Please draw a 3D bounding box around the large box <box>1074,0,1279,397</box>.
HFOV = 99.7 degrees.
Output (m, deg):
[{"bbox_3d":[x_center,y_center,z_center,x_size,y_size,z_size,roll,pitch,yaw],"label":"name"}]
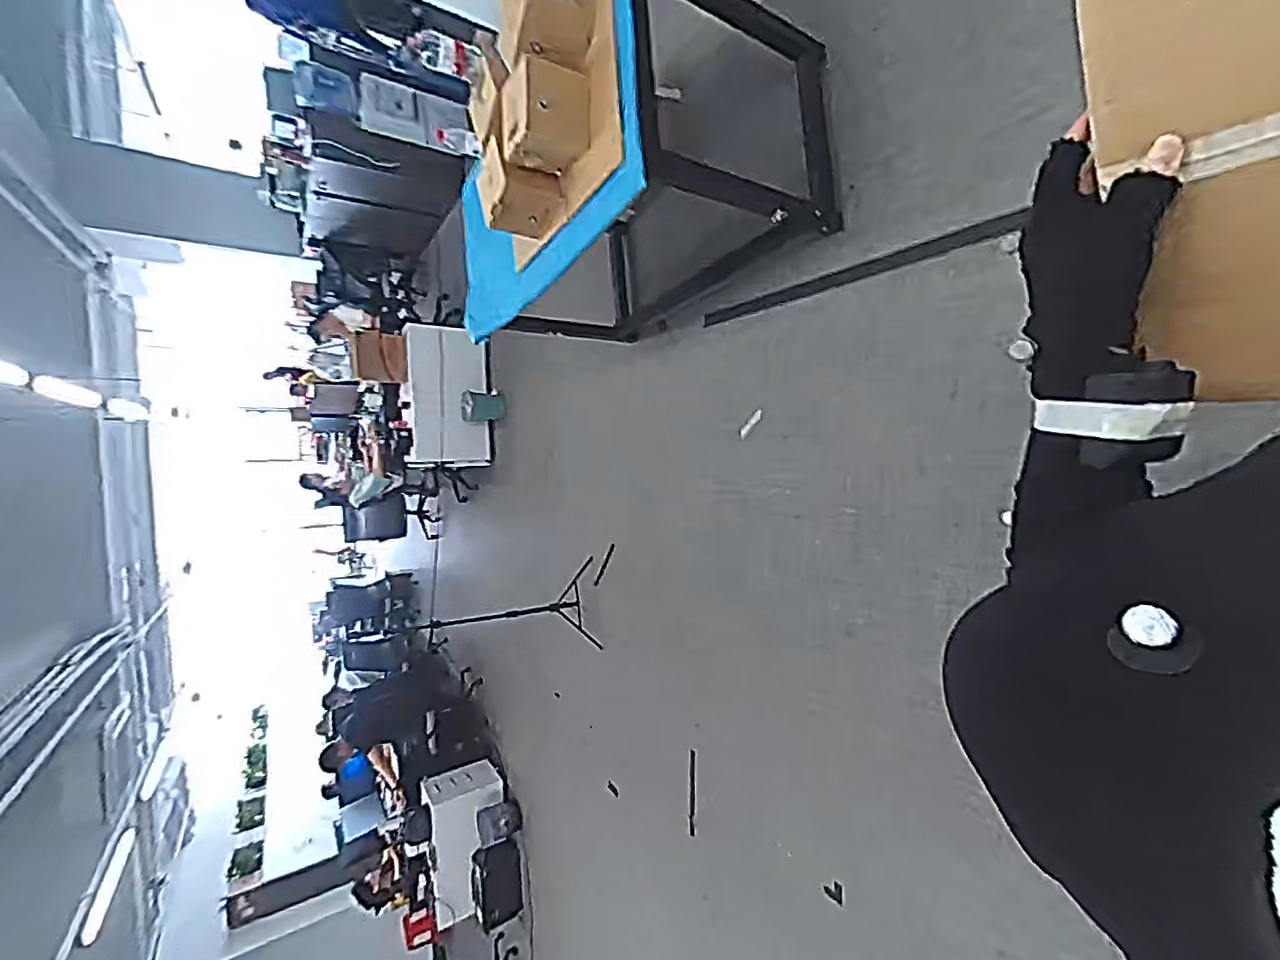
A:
[{"bbox_3d":[0.509,-0.257,0.242,0.408,0.320,0.320,8,132,57],"label":"large box"}]
